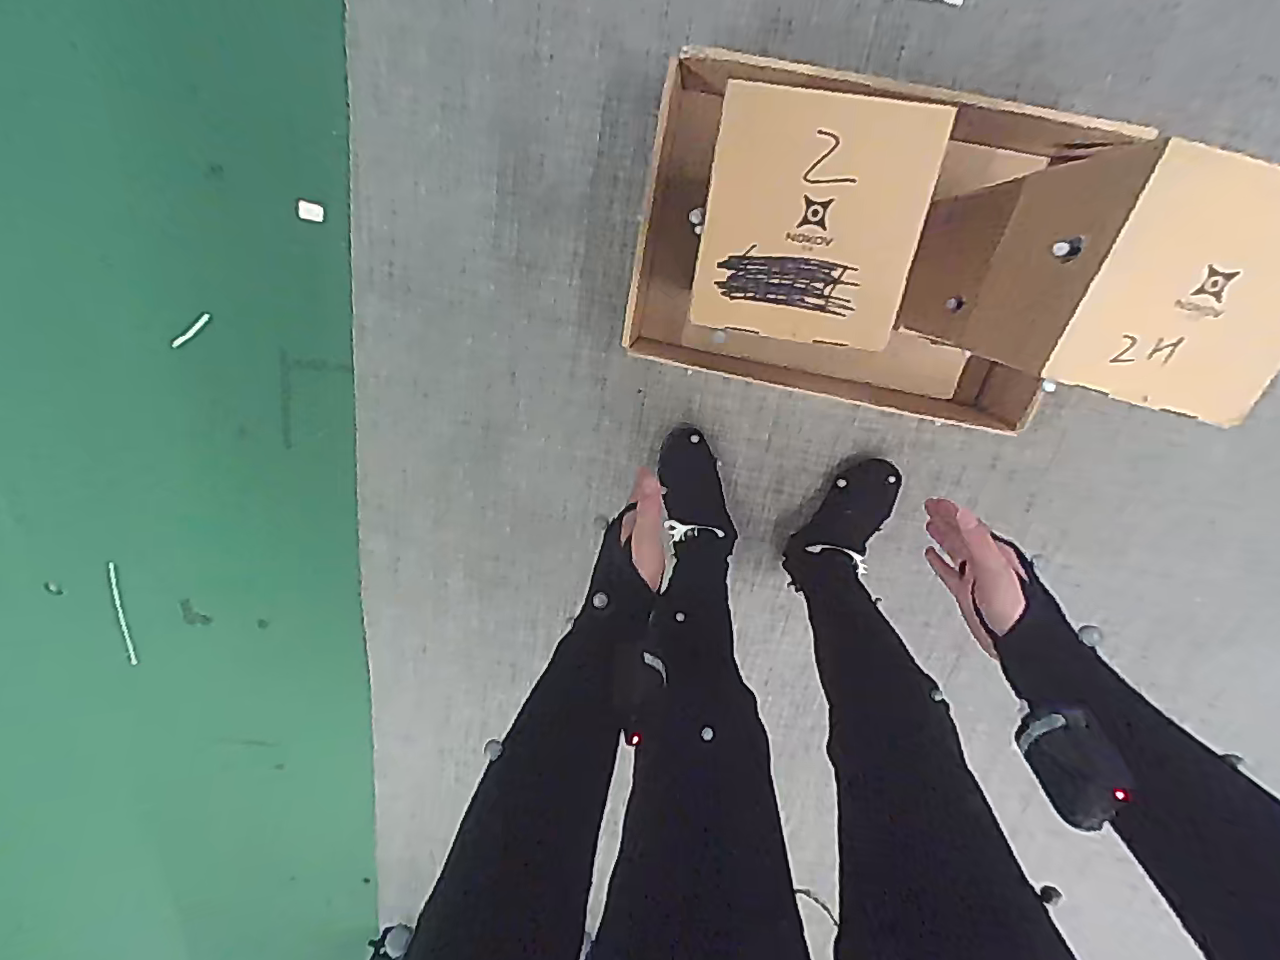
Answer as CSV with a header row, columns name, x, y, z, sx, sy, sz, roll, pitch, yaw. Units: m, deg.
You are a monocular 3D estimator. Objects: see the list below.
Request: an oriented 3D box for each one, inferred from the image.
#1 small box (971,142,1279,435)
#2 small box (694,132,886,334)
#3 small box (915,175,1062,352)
name,x,y,z,sx,sy,sz,roll,pitch,yaw
small box,0.437,-0.165,0.478,0.168,0.176,0.179,16,114,1
small box,0.161,-0.281,0.642,0.168,0.176,0.179,11,111,4
small box,0.455,-0.228,0.630,0.168,0.176,0.179,16,114,0
